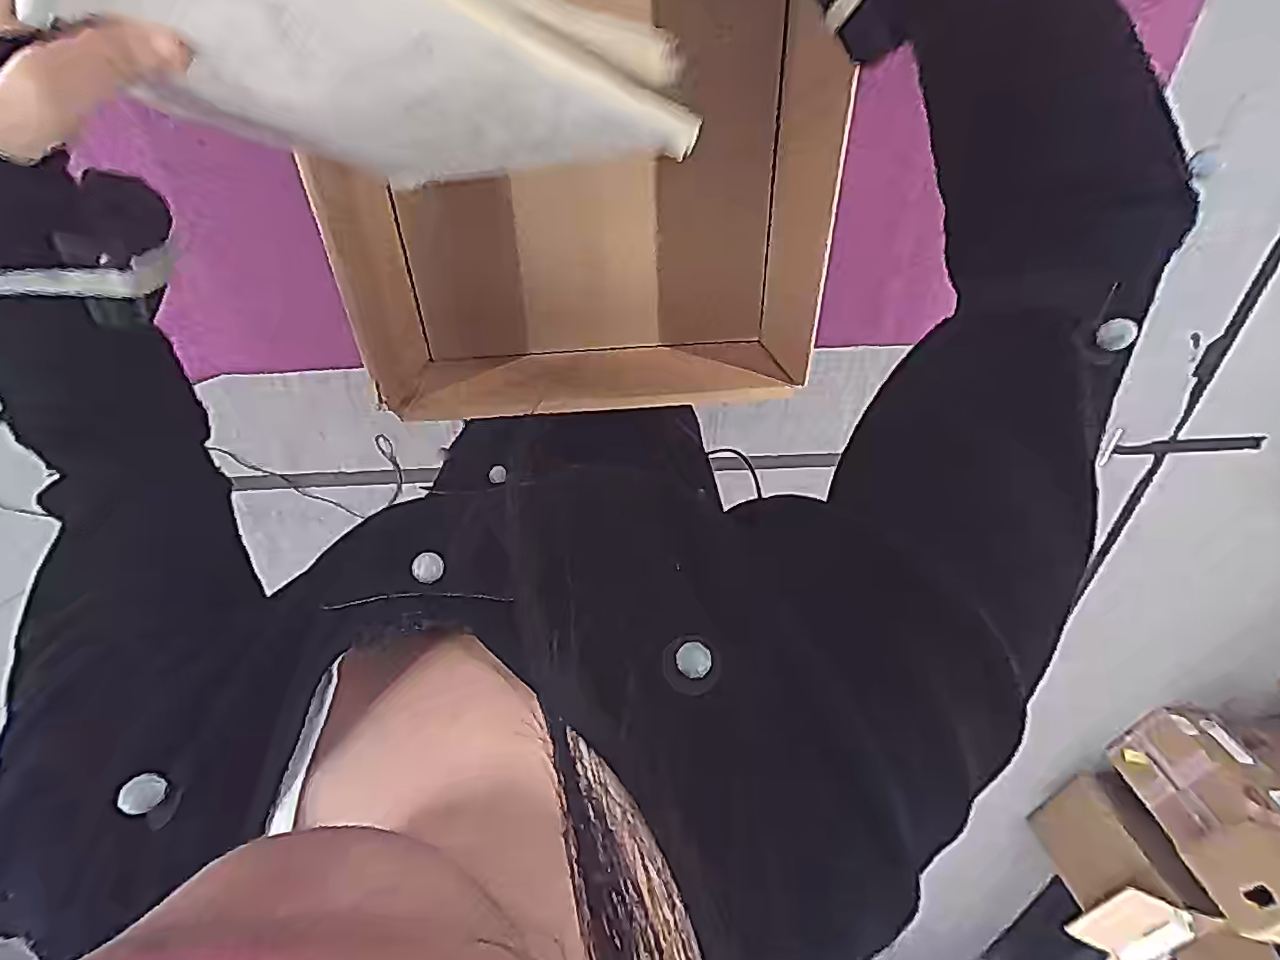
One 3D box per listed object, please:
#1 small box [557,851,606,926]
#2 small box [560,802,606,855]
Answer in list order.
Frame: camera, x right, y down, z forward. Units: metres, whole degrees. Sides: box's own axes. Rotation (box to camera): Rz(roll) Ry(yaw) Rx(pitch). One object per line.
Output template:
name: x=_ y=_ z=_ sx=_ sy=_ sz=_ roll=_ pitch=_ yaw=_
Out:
small box: x=-0.207 y=1.444 z=1.921 sx=0.168 sy=0.176 sz=0.179 roll=-1 pitch=122 yaw=-4
small box: x=-0.219 y=1.347 z=2.053 sx=0.168 sy=0.176 sz=0.179 roll=2 pitch=123 yaw=-6
